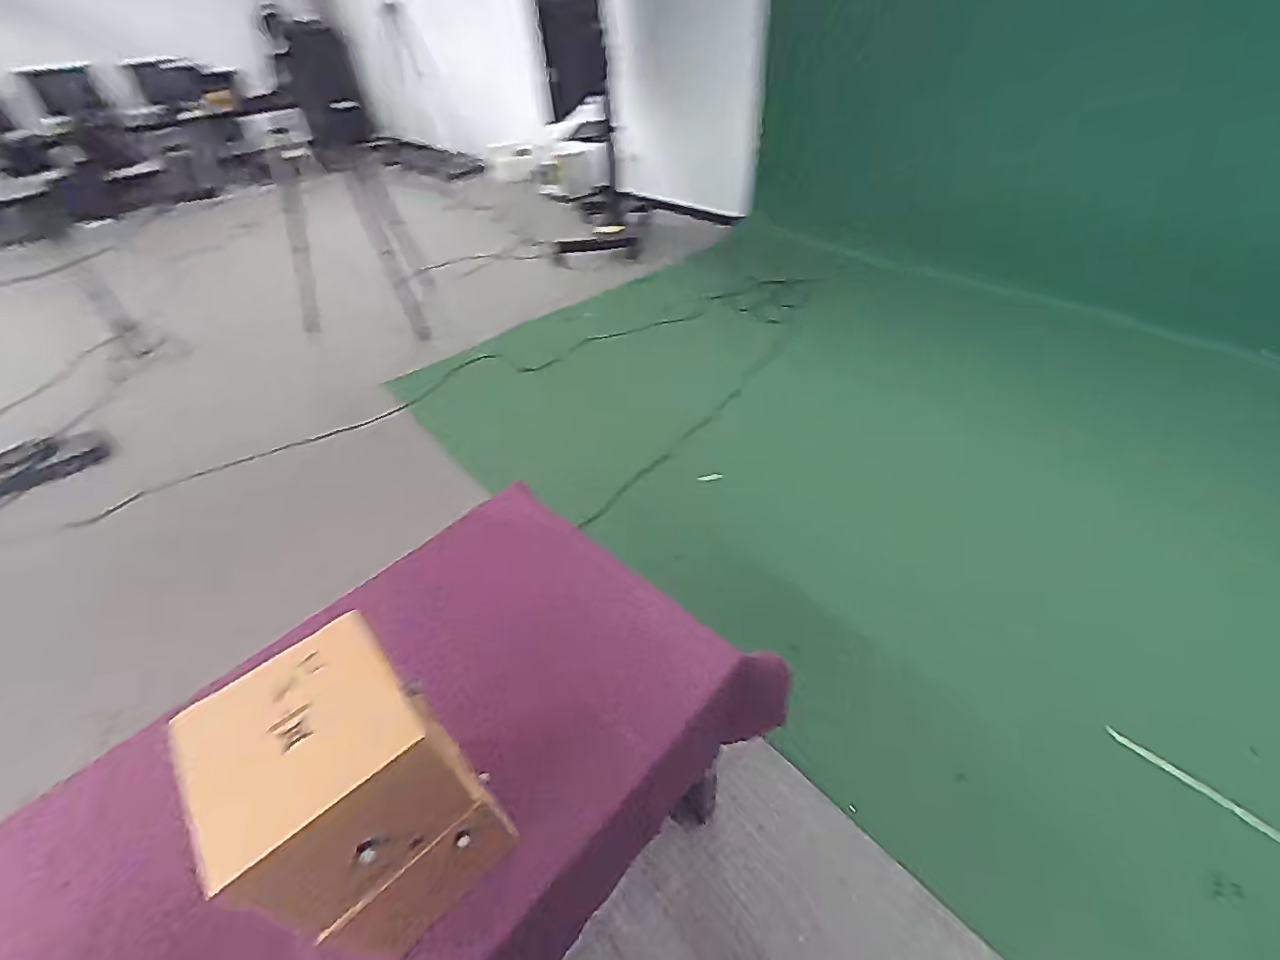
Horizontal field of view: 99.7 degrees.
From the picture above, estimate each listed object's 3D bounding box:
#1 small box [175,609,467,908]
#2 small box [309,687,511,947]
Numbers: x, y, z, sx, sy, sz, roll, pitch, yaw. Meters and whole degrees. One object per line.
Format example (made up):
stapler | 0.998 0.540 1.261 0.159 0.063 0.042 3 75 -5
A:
small box | -0.294 0.269 0.525 0.168 0.176 0.179 -33 49 -27
small box | -0.279 0.392 0.633 0.179 0.176 0.168 -35 50 -28
